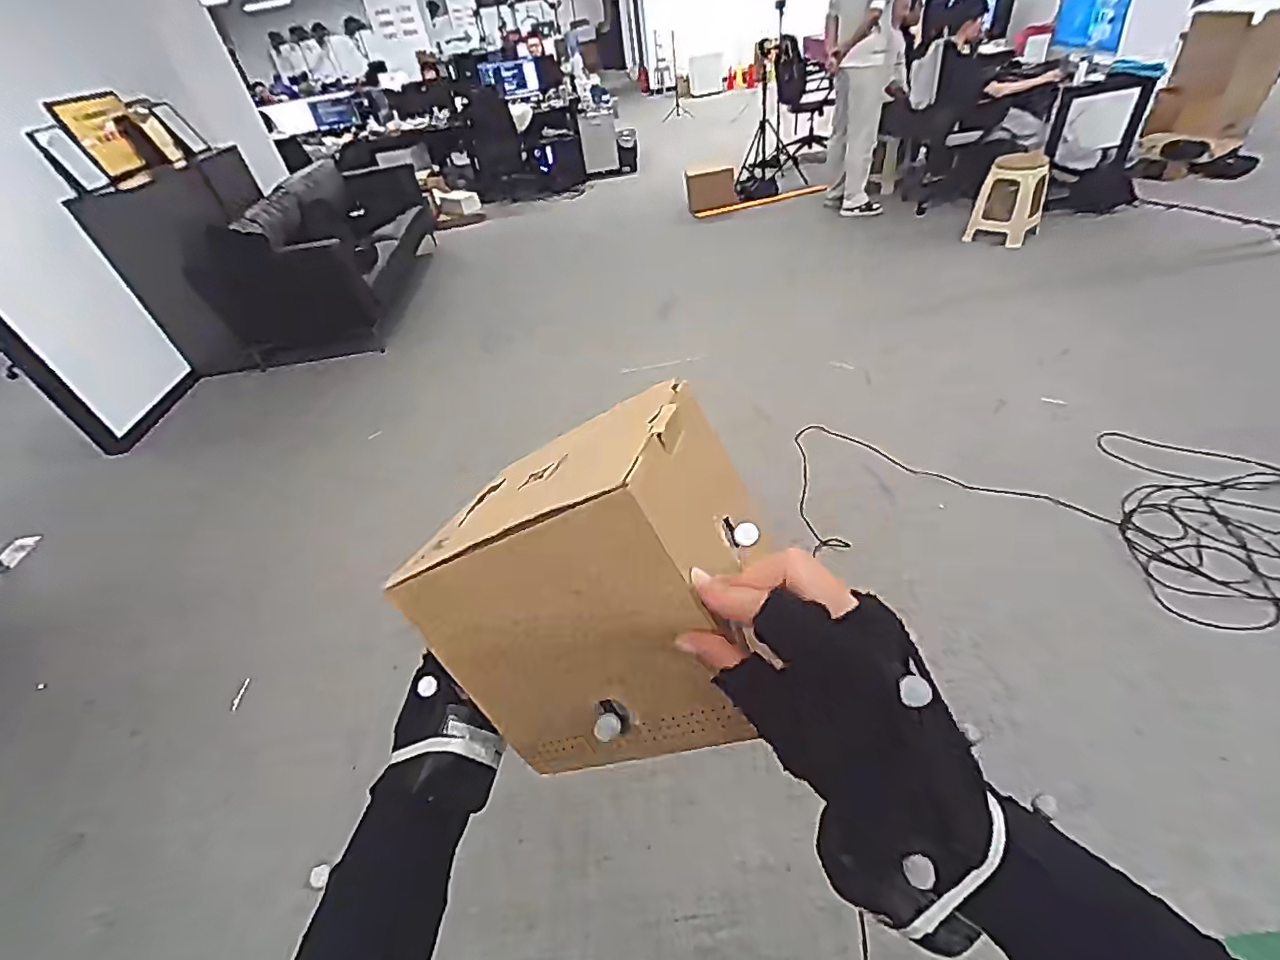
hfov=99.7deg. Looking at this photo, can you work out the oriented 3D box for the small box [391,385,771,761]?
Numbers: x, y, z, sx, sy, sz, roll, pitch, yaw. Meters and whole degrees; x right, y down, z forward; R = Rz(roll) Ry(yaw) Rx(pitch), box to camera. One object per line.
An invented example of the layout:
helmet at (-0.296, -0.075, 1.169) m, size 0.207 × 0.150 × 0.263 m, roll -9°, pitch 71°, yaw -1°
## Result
small box at (-0.020, 0.065, 0.380) m, size 0.179 × 0.176 × 0.168 m, roll -24°, pitch 19°, yaw 25°
